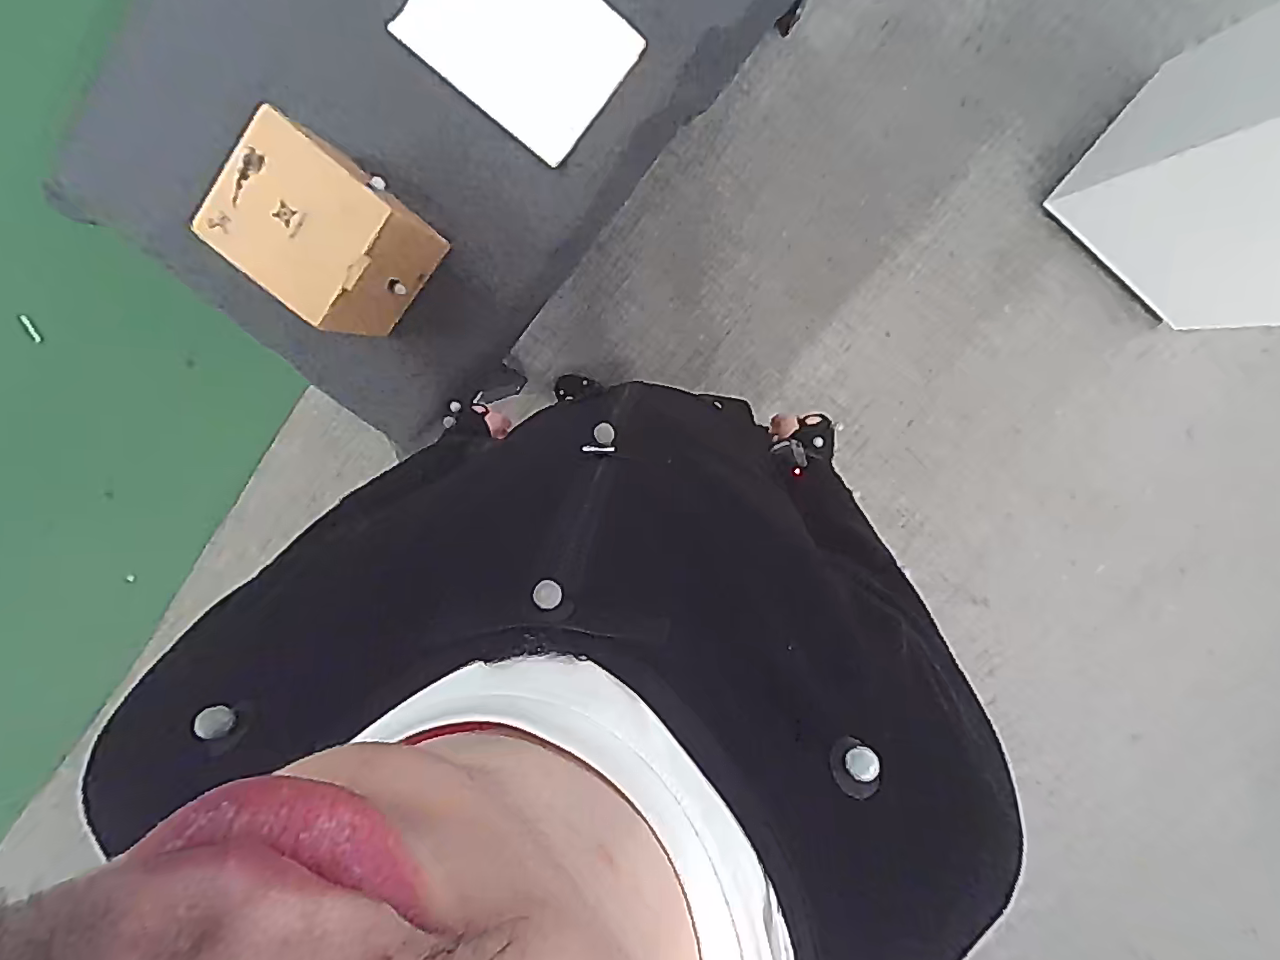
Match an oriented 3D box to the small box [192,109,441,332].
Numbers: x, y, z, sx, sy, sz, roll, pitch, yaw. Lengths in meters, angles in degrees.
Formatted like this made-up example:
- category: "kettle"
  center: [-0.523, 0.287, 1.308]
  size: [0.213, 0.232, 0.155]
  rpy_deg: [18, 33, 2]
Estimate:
- category: "small box"
  center: [-0.387, -0.306, 0.684]
  size: [0.179, 0.176, 0.168]
  rpy_deg: [39, 100, -8]
